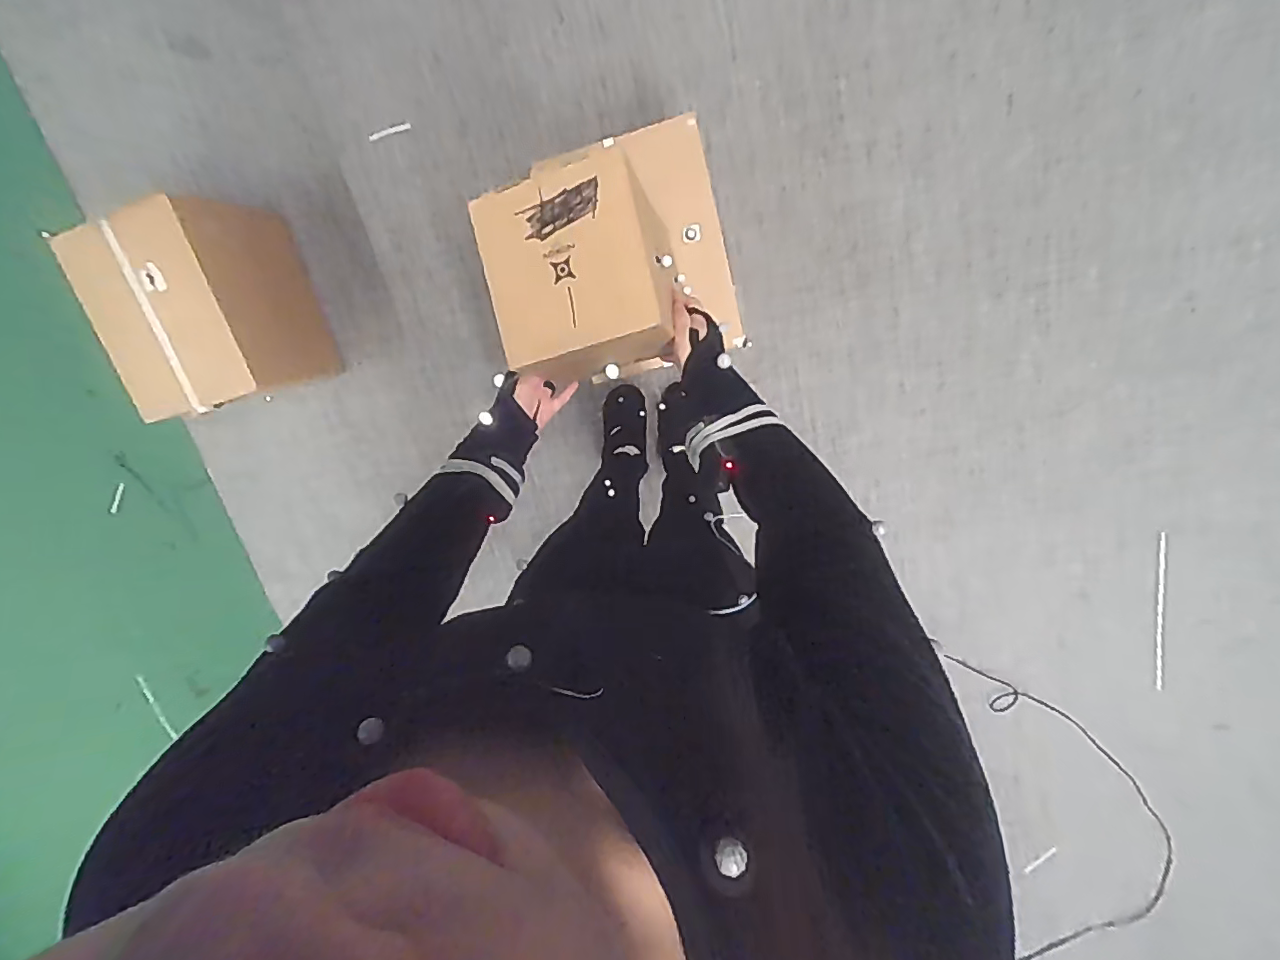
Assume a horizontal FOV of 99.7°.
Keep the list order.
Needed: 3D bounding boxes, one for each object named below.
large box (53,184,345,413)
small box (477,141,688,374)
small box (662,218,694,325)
[{"bbox_3d":[-0.995,-0.411,1.277,0.320,0.320,0.408,-12,107,11],"label":"large box"},{"bbox_3d":[-0.051,-0.227,0.604,0.168,0.176,0.179,-12,94,14],"label":"small box"},{"bbox_3d":[-0.009,-0.336,0.934,0.179,0.176,0.168,-13,108,13],"label":"small box"}]
